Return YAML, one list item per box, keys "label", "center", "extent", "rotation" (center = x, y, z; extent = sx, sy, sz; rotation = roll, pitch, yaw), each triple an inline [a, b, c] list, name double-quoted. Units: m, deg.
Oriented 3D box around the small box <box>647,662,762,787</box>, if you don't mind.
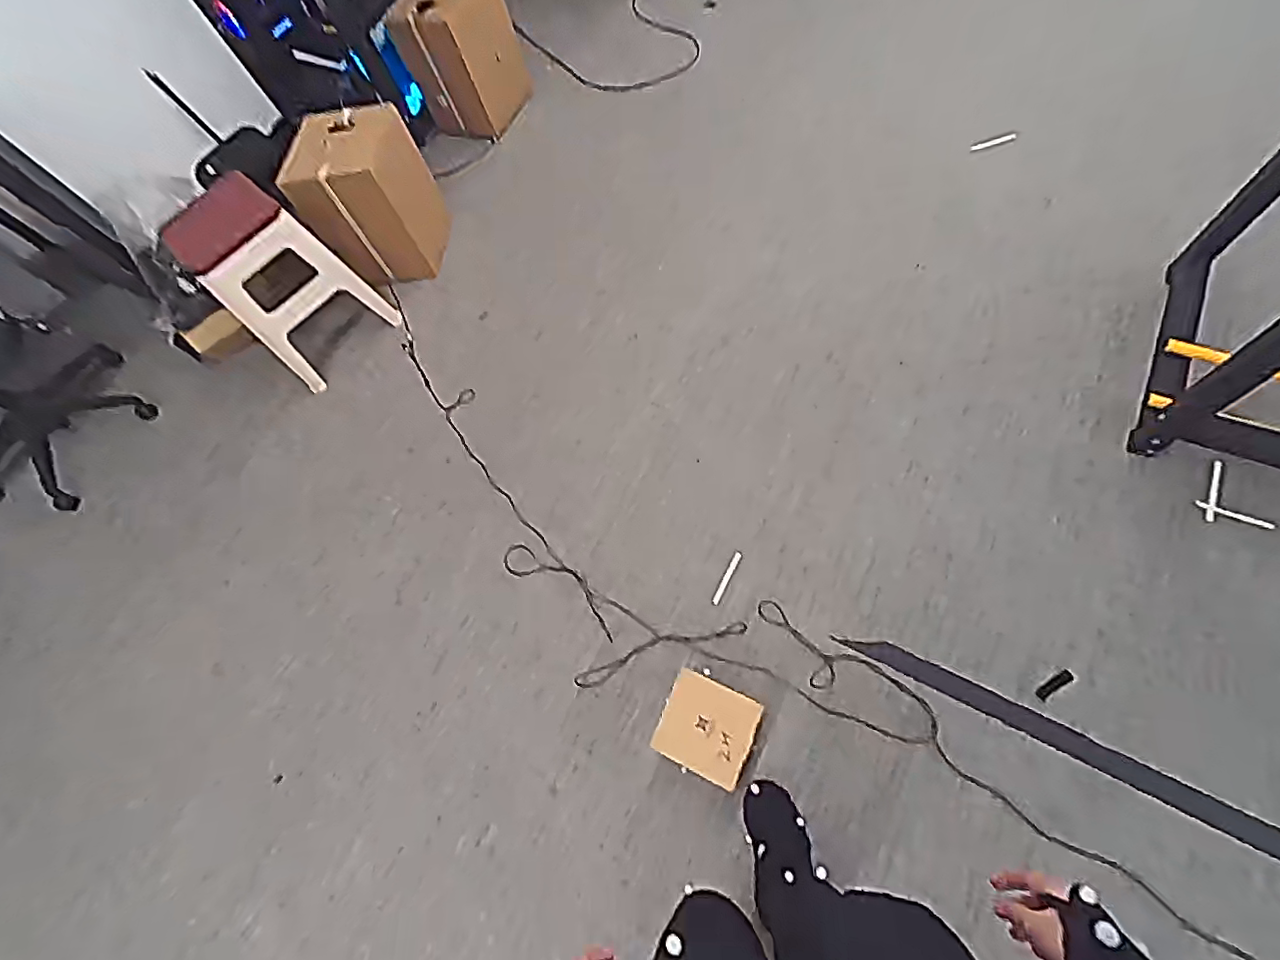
- label: "small box"
  center: [0.136, 0.494, 1.102]
  extent: [0.179, 0.176, 0.168]
  rotation: [21, 73, 18]
